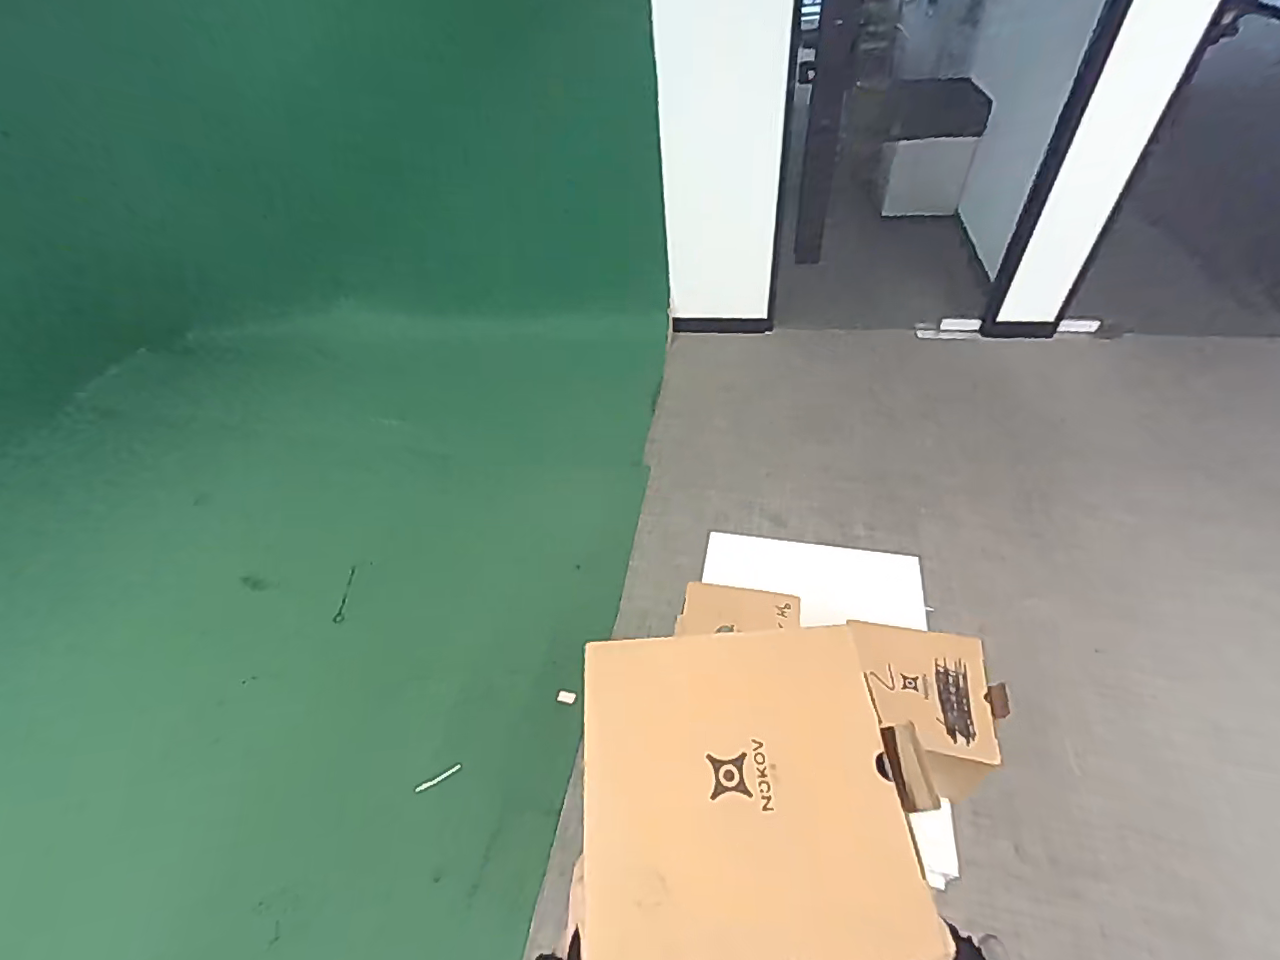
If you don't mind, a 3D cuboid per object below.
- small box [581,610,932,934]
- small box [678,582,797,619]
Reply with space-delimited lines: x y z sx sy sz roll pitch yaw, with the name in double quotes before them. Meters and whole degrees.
"small box" 0.060 0.205 0.376 0.179 0.176 0.168 -4 53 1
"small box" 0.144 0.283 0.843 0.179 0.176 0.168 6 48 12
